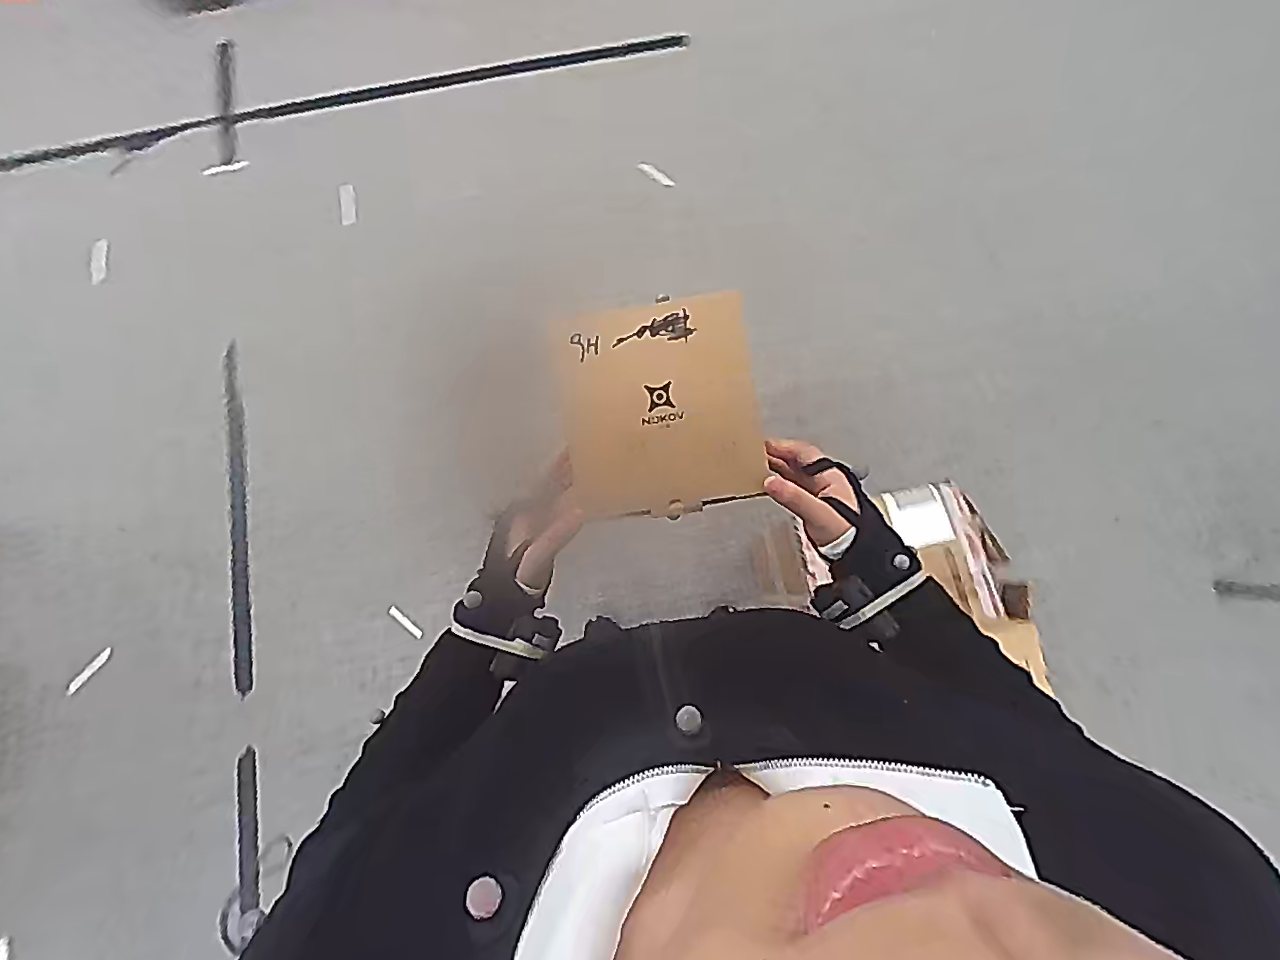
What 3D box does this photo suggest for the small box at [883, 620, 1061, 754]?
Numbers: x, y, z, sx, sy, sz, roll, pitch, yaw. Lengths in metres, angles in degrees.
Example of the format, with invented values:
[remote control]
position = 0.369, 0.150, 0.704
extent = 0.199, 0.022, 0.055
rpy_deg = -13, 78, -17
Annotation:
[small box]
position = 0.541, 0.334, 0.905
extent = 0.179, 0.176, 0.168
rpy_deg = -9, 80, 1
